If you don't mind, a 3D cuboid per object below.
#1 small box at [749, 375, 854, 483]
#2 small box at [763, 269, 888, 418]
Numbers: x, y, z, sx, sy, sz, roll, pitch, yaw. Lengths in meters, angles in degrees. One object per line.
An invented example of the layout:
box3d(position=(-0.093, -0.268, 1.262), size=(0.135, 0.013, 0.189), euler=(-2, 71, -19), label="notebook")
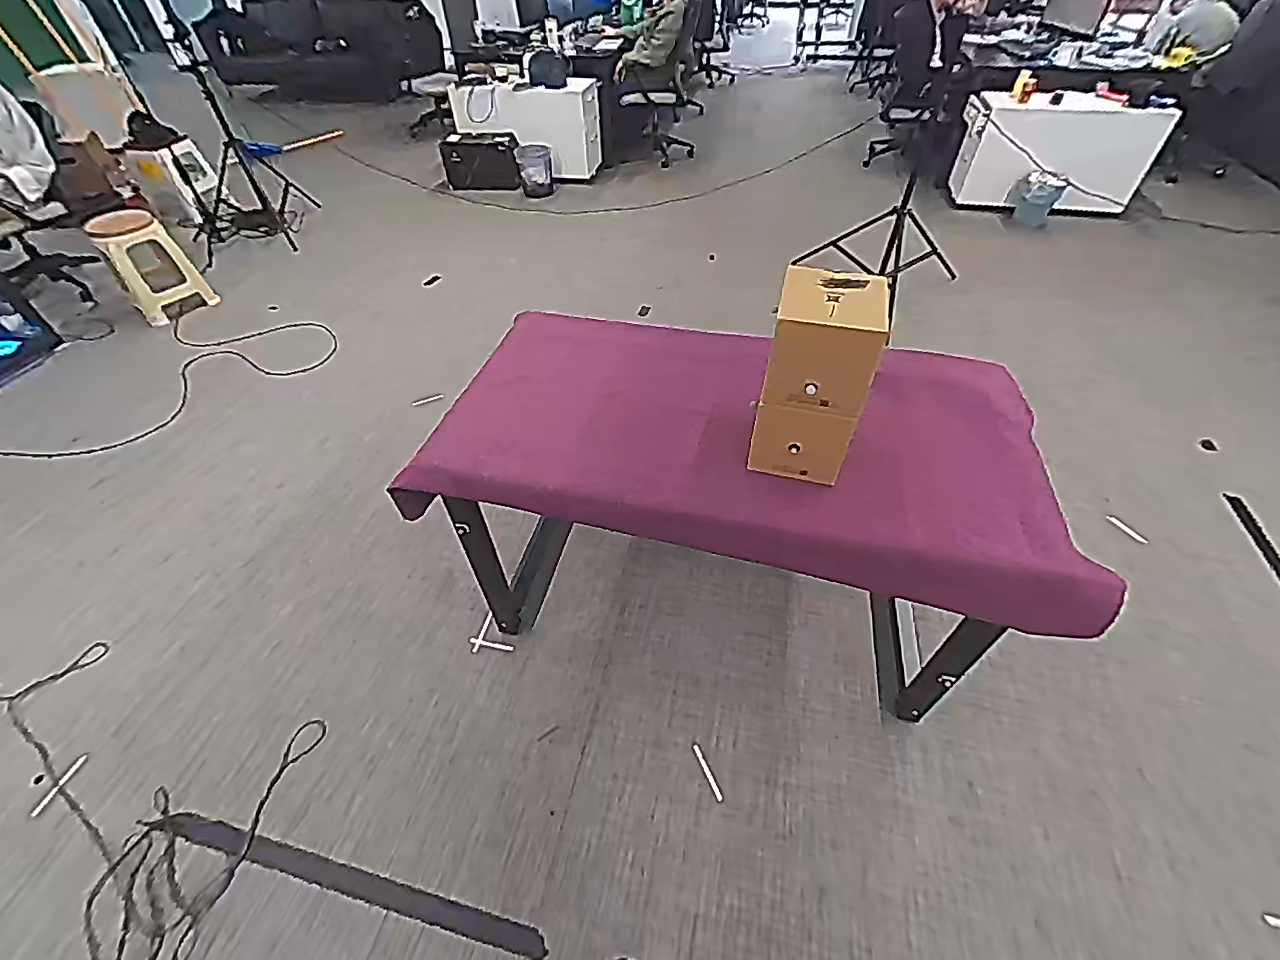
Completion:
box3d(position=(0.309, -0.119, 1.039), size=(0.168, 0.176, 0.179), euler=(12, 48, 11), label="small box")
box3d(position=(0.311, -0.233, 0.922), size=(0.168, 0.176, 0.179), euler=(11, 49, 12), label="small box")
